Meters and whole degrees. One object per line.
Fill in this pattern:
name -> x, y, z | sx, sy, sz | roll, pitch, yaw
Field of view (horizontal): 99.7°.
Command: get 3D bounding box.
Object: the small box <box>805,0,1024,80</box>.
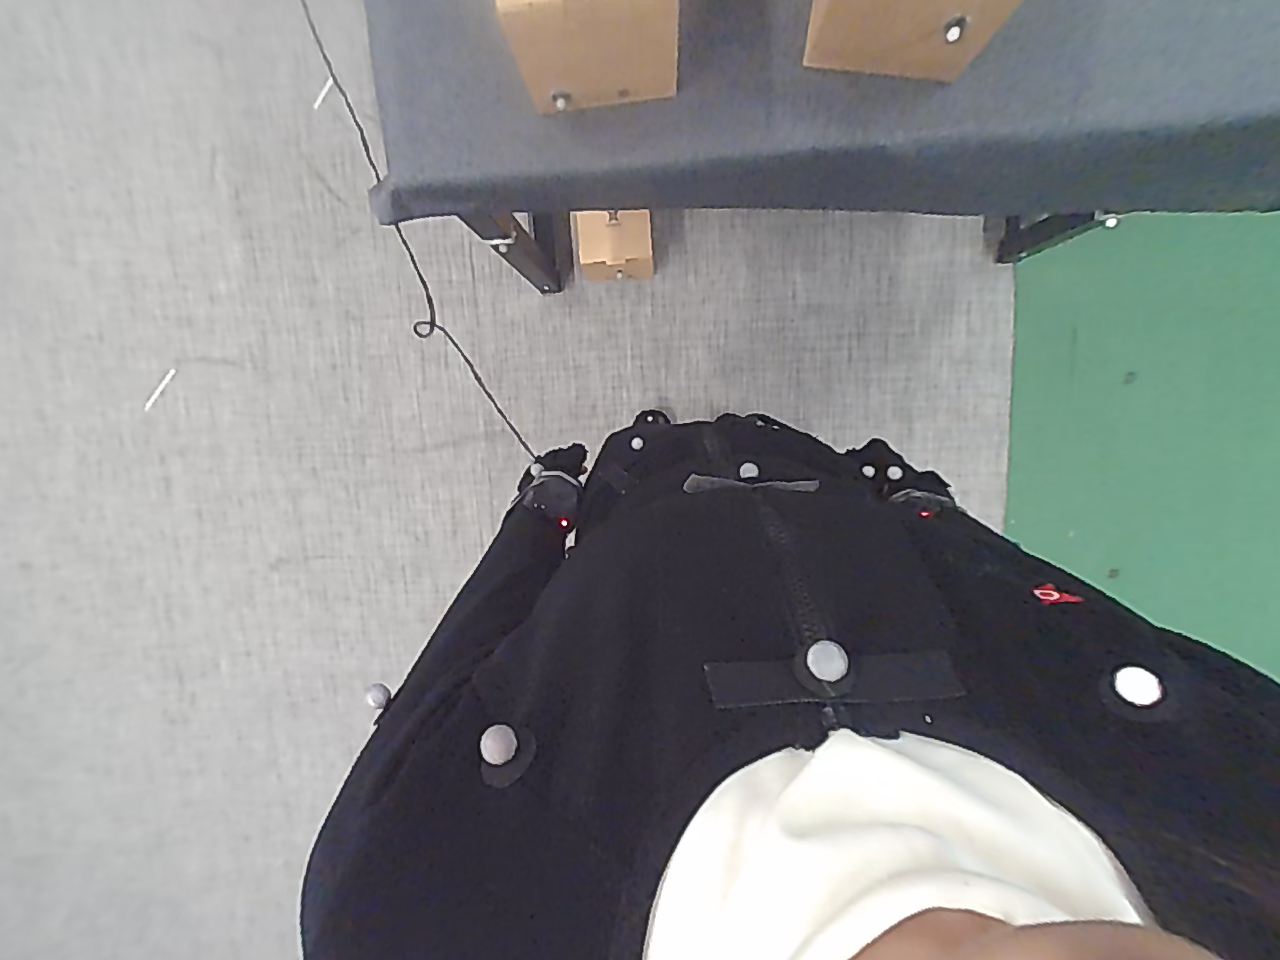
small box -> 0.283, -0.539, 0.538 | 0.179, 0.176, 0.168 | 8, 97, 2

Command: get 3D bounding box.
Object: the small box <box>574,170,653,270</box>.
small box -> -0.056, -0.604, 1.278 | 0.168, 0.176, 0.179 | -3, 98, 3

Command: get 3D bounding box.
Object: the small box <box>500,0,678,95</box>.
small box -> -0.047, -0.527, 0.549 | 0.168, 0.176, 0.179 | -4, 96, 2
